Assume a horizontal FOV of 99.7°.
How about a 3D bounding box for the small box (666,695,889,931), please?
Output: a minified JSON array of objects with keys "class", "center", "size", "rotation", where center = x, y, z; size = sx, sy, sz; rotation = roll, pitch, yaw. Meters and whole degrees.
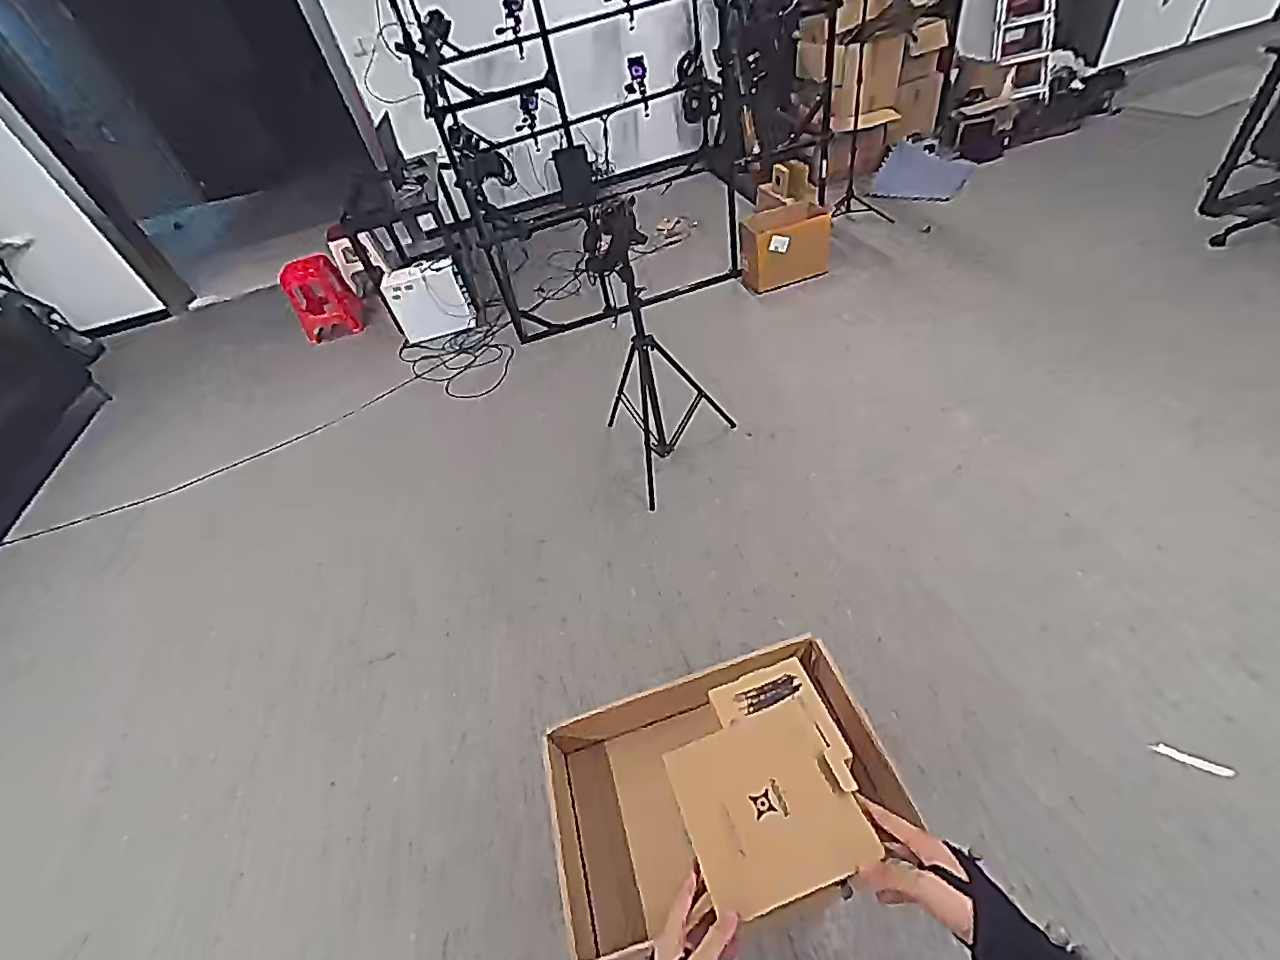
[{"class":"small box","center":[0.147,0.378,0.617],"size":[0.179,0.176,0.168],"rotation":[-22,49,-4]}]
